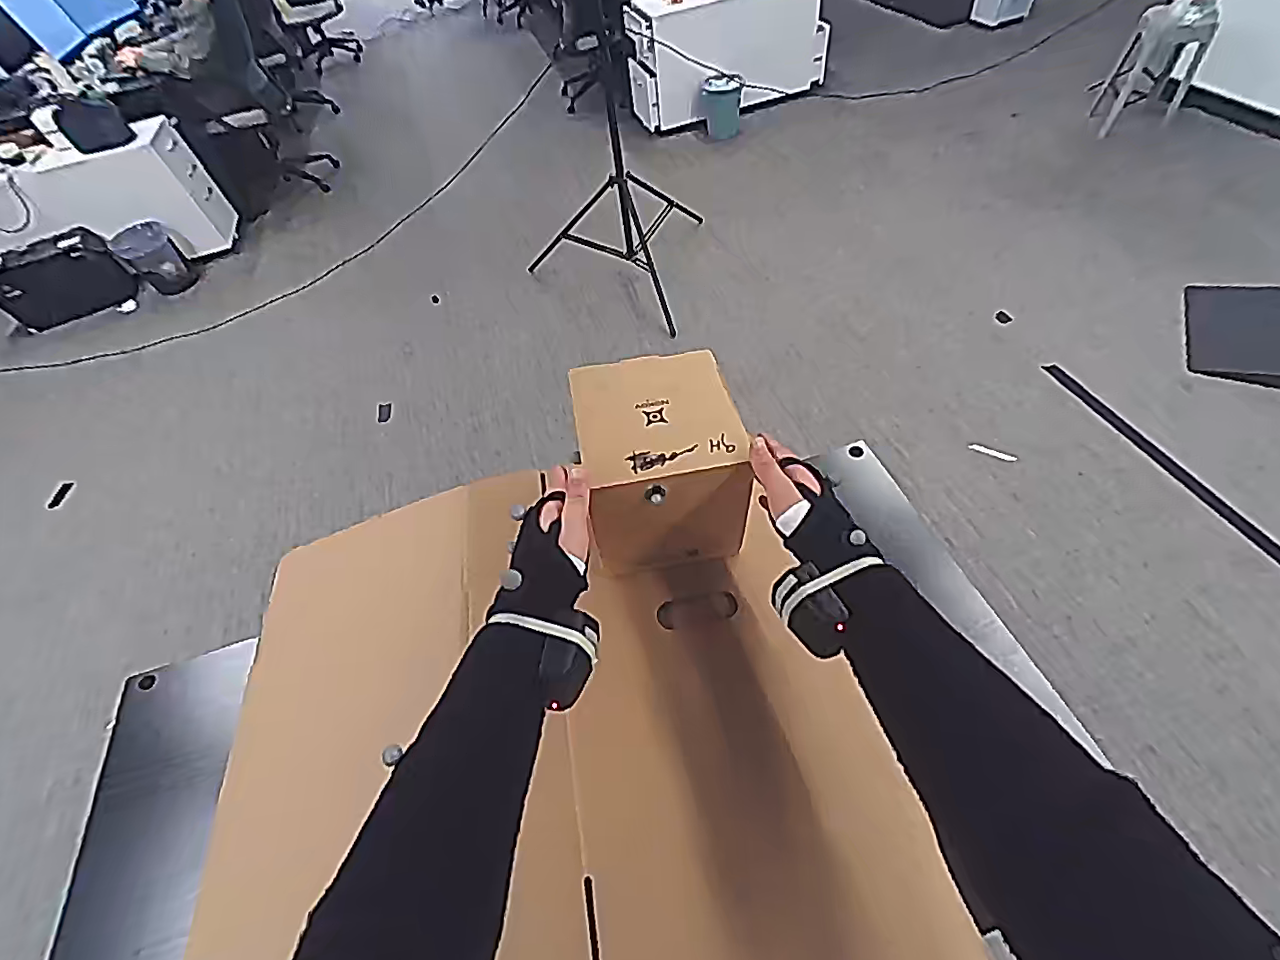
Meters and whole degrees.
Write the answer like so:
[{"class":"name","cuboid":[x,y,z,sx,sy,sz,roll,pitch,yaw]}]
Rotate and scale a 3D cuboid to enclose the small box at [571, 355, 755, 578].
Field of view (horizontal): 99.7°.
[{"class":"small box","cuboid":[0.019,-0.014,0.616,0.168,0.176,0.179,-10,50,-4]}]
